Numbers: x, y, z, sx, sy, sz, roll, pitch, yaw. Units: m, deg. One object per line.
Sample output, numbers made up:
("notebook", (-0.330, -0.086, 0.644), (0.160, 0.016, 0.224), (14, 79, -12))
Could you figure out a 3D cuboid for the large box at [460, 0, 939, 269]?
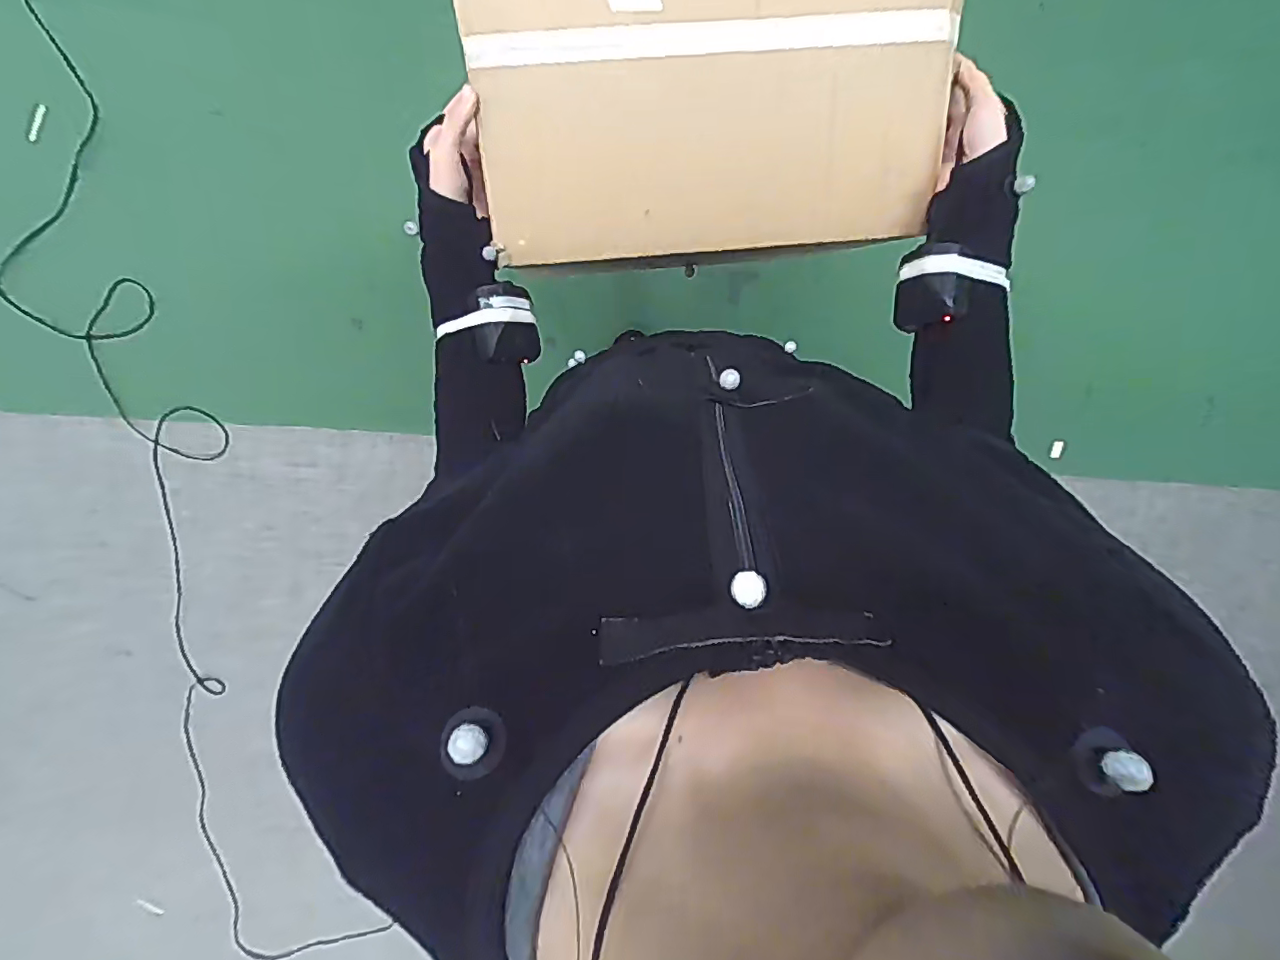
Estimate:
("large box", (0.045, -0.413, 0.594), (0.408, 0.320, 0.320), (-5, 110, -3))
